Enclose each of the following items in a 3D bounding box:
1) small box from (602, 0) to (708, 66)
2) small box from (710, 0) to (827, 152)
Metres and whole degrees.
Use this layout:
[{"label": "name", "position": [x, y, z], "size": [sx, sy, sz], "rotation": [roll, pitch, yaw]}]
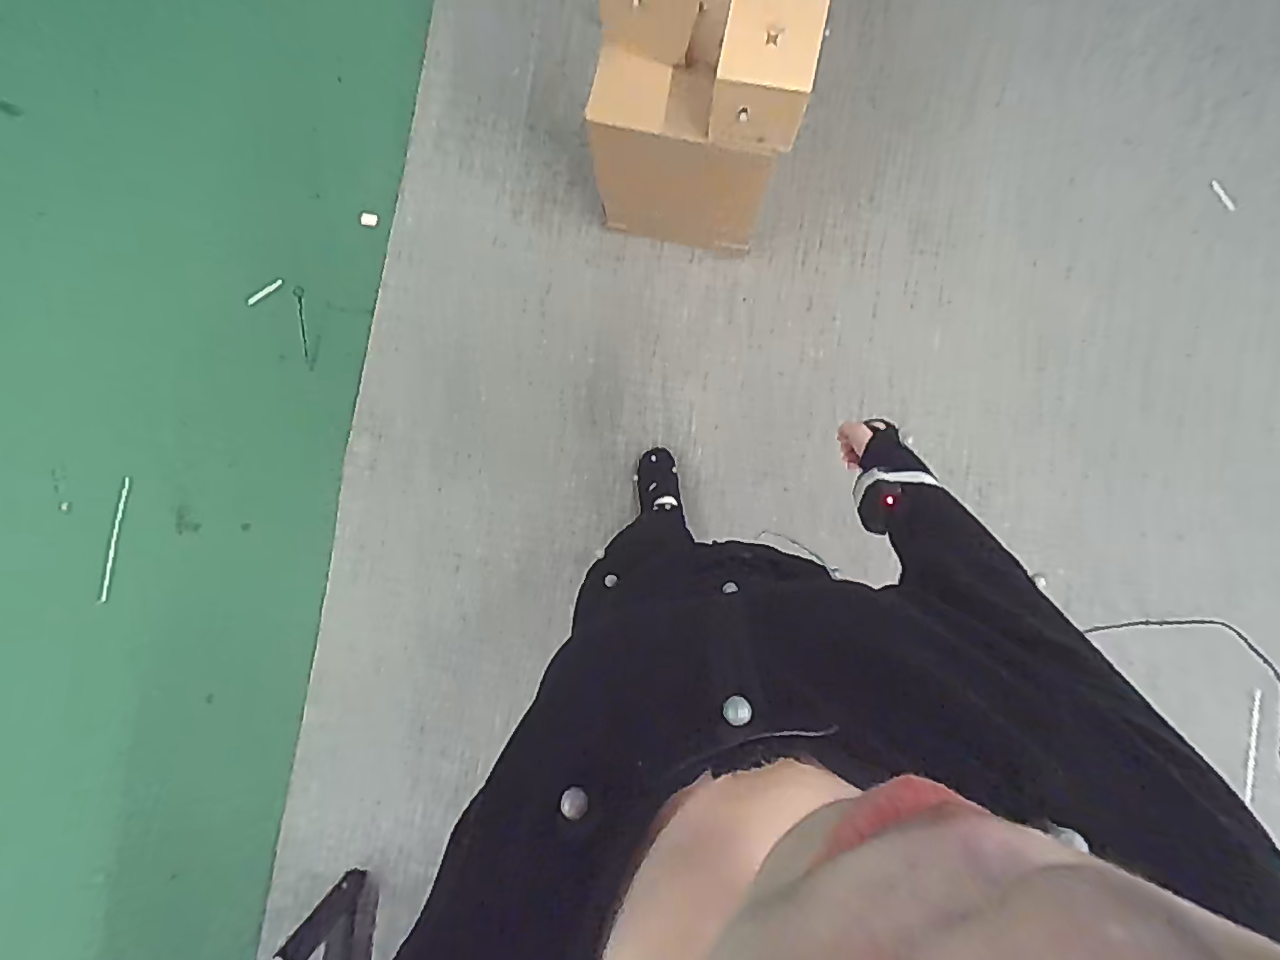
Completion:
[{"label": "small box", "position": [0.030, -0.936, 1.021], "size": [0.179, 0.176, 0.168], "rotation": [19, 88, 3]}, {"label": "small box", "position": [0.227, -0.745, 0.998], "size": [0.168, 0.176, 0.179], "rotation": [11, 87, 3]}]
